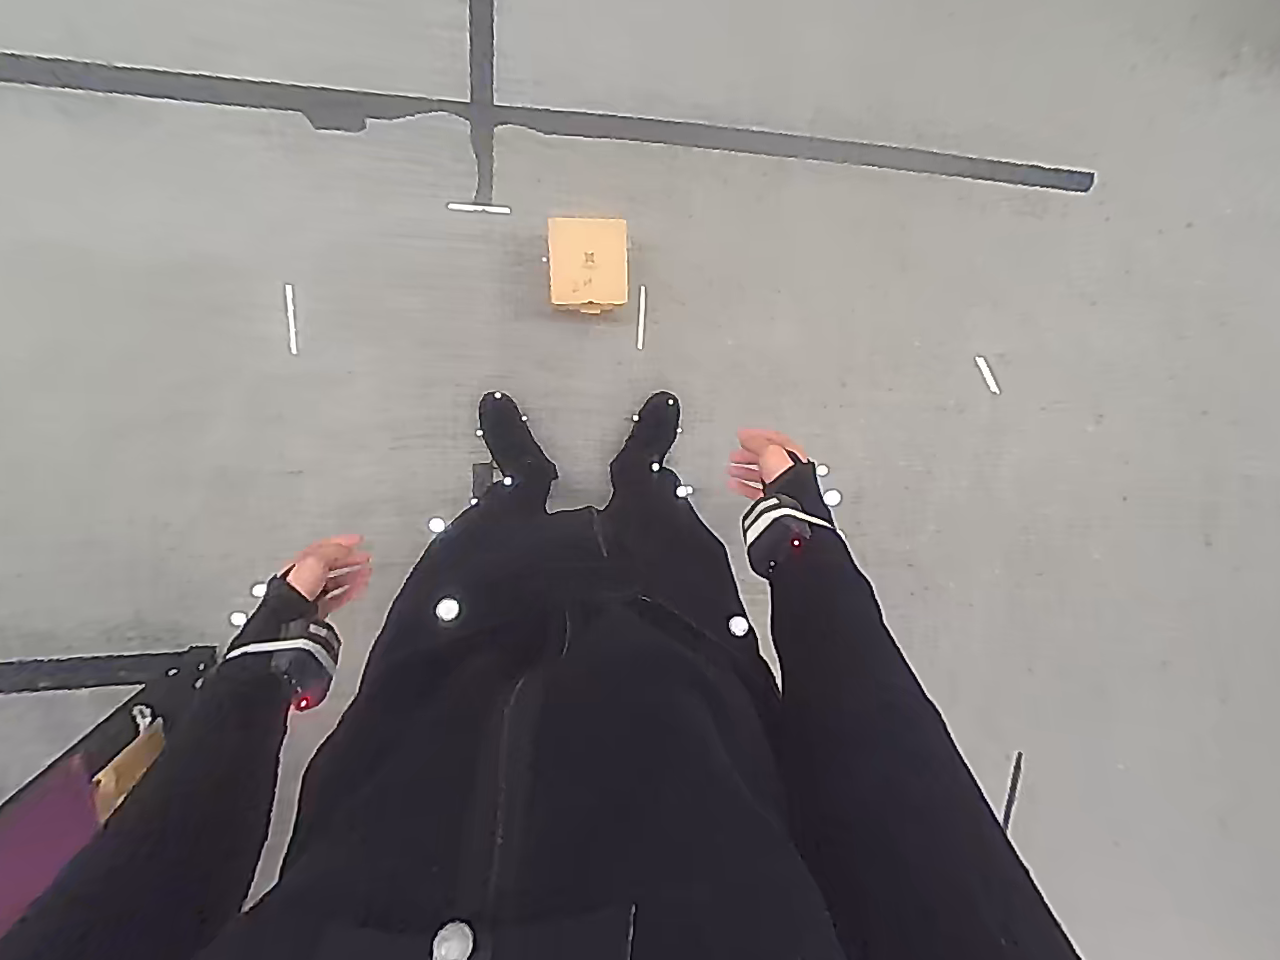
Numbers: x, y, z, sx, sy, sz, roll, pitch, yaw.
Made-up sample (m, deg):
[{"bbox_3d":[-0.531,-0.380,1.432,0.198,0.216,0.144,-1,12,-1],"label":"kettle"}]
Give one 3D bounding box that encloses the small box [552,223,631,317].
[{"bbox_3d":[-0.113,-0.467,1.224,0.168,0.176,0.179,-2,104,-9],"label":"small box"}]
